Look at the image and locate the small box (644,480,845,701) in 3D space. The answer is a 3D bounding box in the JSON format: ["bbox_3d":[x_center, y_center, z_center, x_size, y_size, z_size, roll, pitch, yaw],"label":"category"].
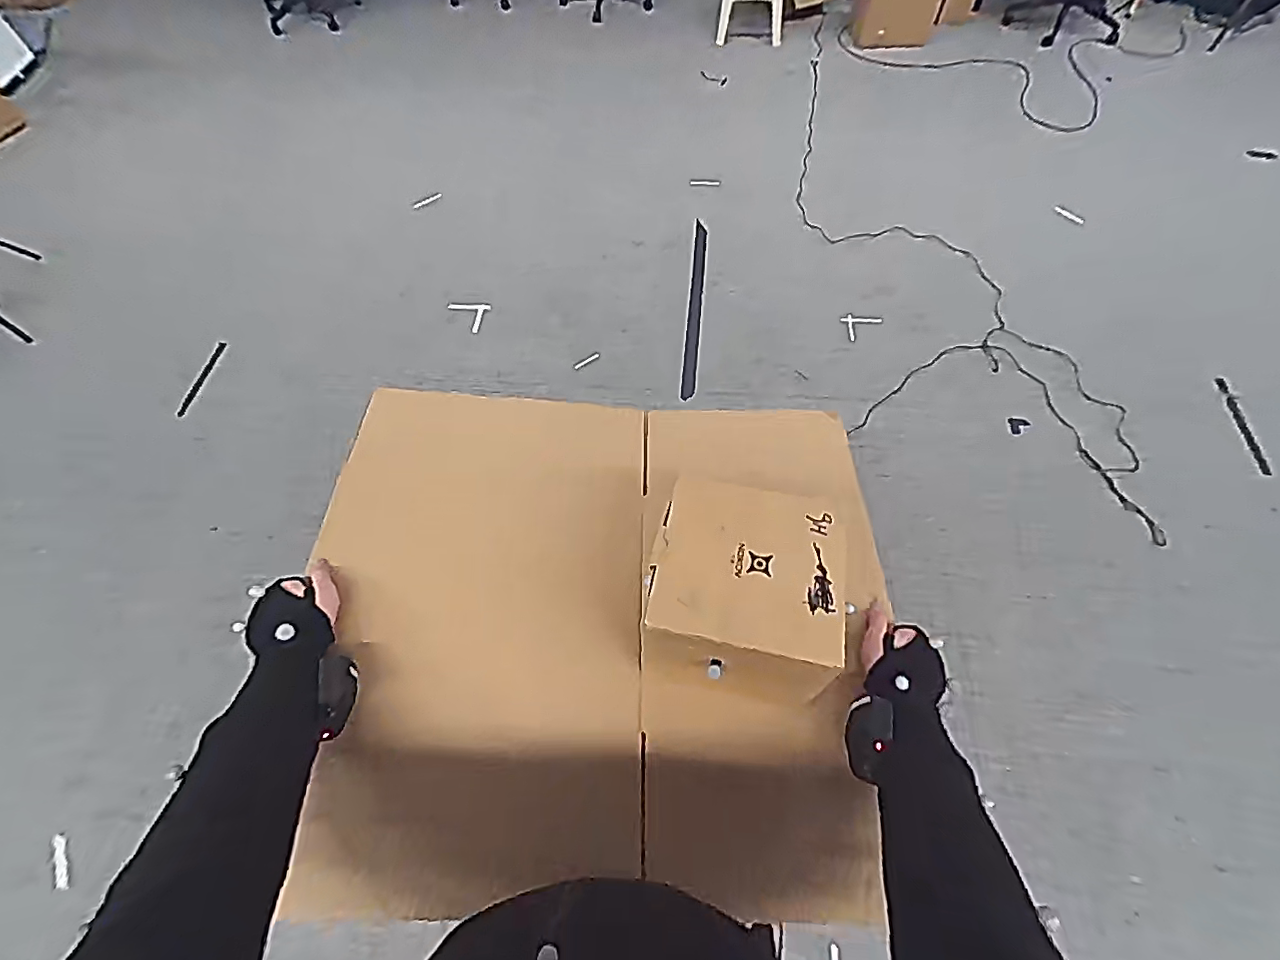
[{"bbox_3d":[0.110,0.123,0.581,0.179,0.176,0.168,9,57,10],"label":"small box"}]
